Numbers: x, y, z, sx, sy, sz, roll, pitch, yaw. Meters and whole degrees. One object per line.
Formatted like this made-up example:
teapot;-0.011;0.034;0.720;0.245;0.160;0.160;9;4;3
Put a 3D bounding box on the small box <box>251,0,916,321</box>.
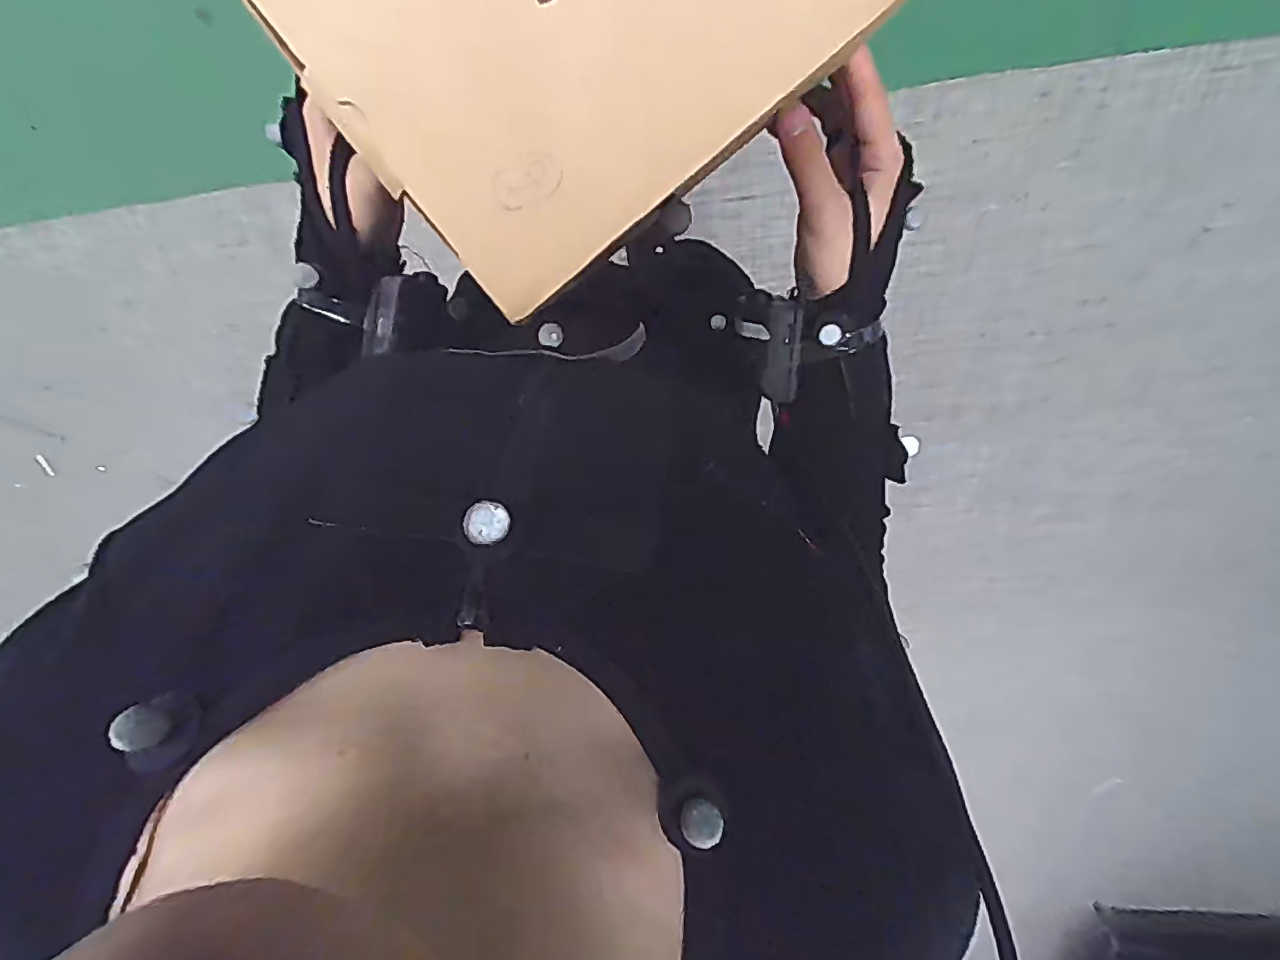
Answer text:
small box;-0.020;-0.198;0.231;0.179;0.176;0.168;-33;109;20
